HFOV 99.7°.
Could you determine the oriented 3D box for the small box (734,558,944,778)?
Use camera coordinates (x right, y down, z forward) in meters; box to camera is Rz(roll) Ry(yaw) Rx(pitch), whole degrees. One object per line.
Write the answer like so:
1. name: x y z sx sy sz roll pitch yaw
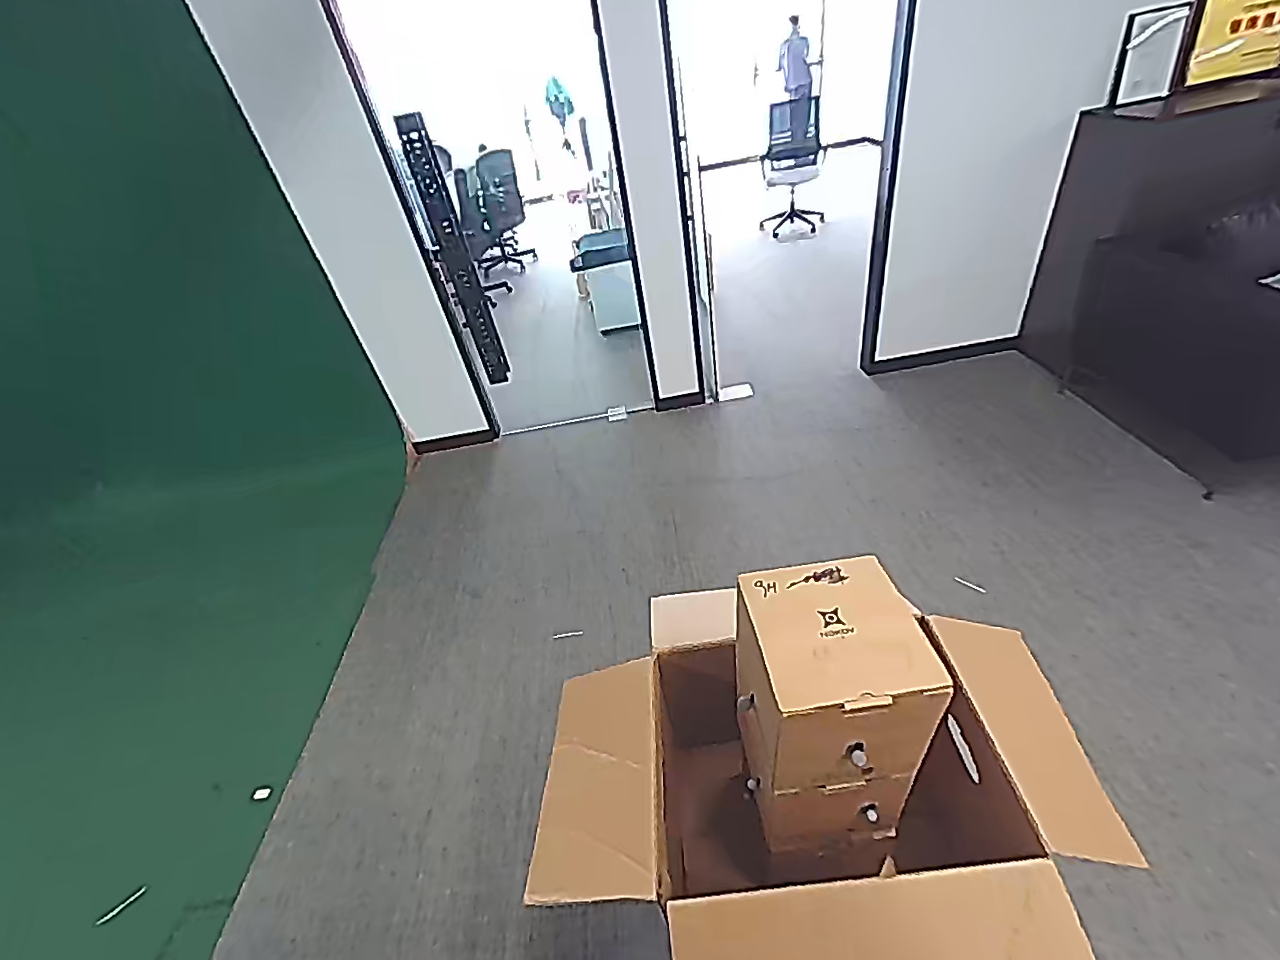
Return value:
1. small box: 0.206 0.217 0.617 0.168 0.176 0.179 -7 39 -1
